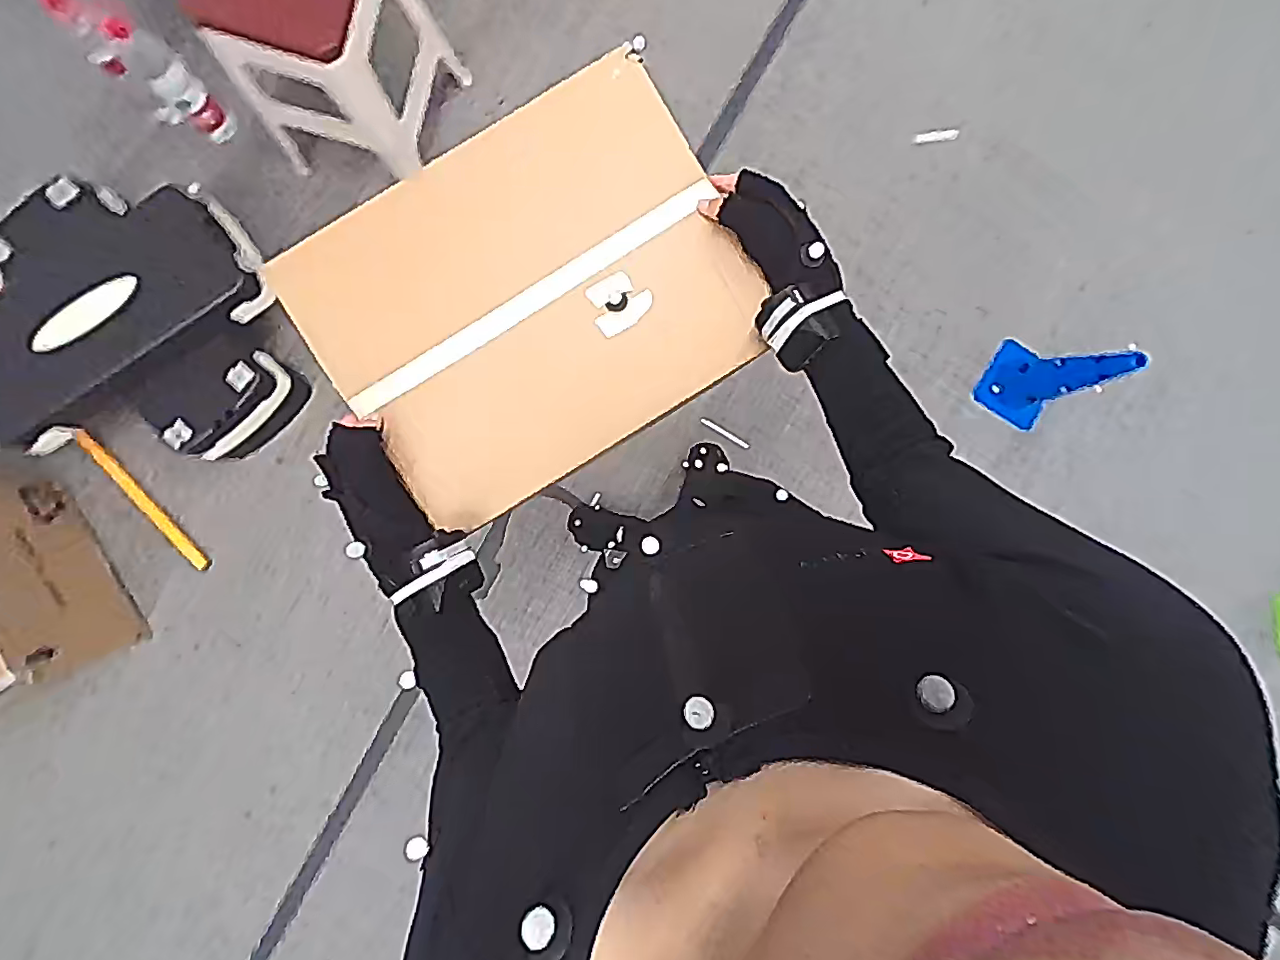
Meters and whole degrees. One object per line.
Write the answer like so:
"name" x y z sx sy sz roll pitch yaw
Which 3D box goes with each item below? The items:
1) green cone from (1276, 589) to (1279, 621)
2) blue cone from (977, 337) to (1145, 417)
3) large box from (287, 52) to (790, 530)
"green cone" 1.970 0.400 1.405 0.200 0.368 0.202 -8 90 -3
"blue cone" 1.072 -0.288 1.366 0.193 0.380 0.192 33 89 -3
"large box" -0.100 -0.184 0.672 0.408 0.320 0.320 -31 94 -1
